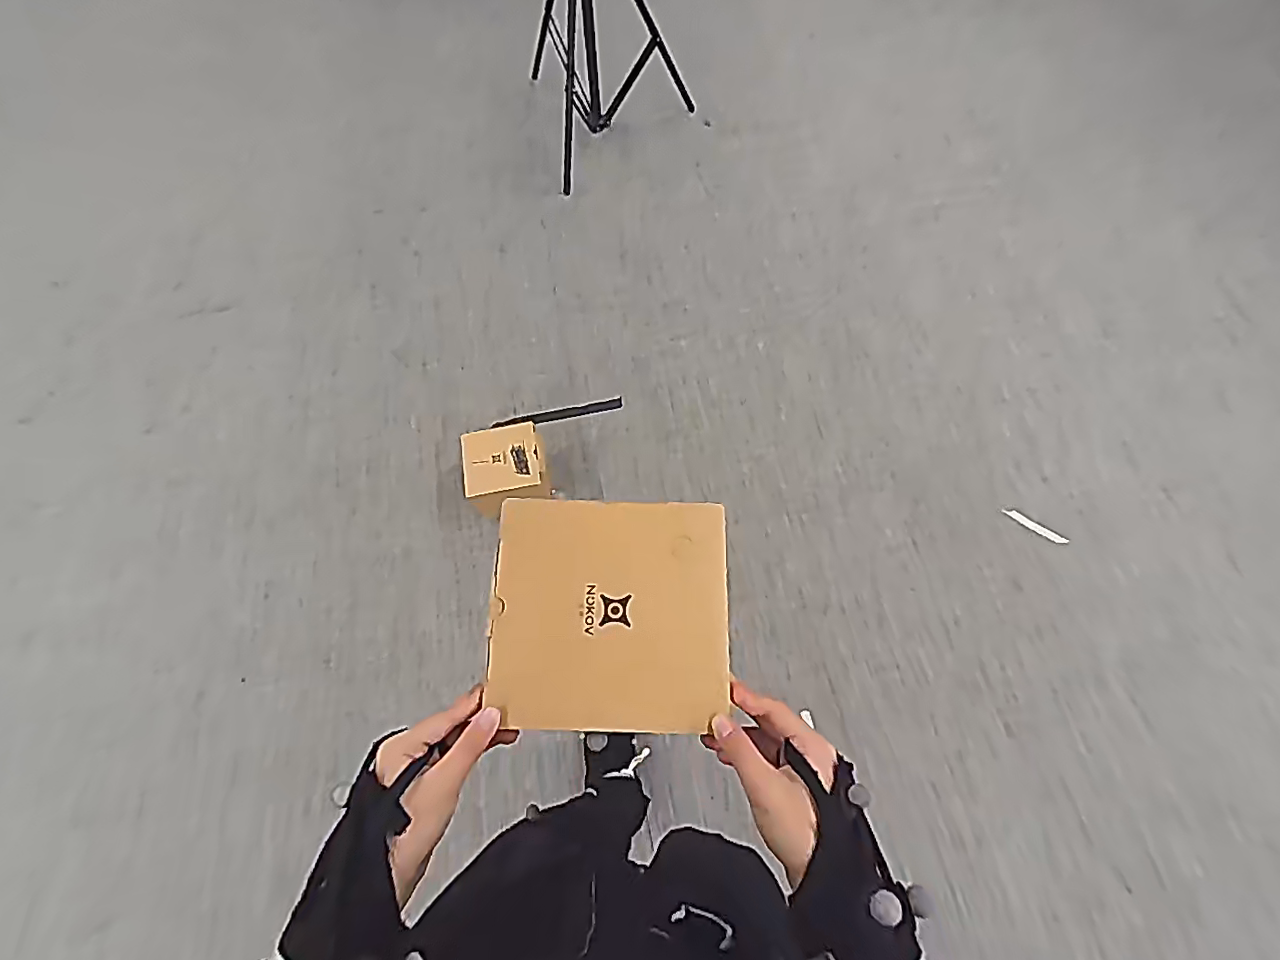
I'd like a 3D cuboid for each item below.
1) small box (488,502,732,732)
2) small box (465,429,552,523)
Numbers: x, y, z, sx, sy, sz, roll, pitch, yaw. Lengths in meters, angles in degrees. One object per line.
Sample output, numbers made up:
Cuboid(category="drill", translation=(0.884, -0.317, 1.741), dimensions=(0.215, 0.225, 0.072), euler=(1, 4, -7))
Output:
Cuboid(category="small box", translation=(-0.019, 0.120, 0.481), dimensions=(0.179, 0.176, 0.168), euler=(0, 73, 2))
Cuboid(category="small box", translation=(-0.318, -0.006, 1.337), dimensions=(0.179, 0.176, 0.168), euler=(-11, 68, -2))
